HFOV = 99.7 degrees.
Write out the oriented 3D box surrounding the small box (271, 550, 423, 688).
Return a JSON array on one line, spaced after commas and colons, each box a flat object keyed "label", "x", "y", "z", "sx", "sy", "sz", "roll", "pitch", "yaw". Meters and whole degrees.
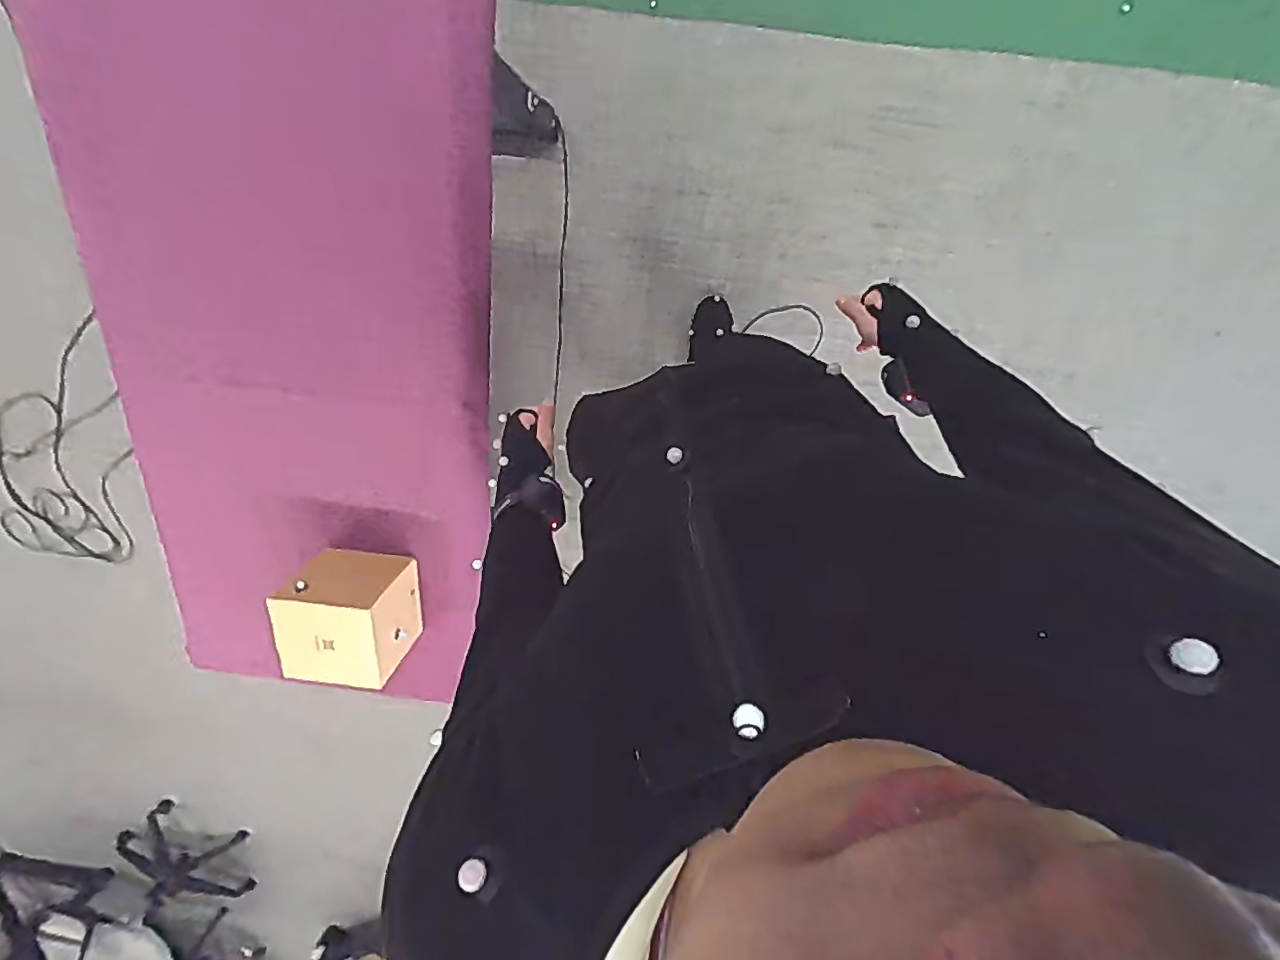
[{"label": "small box", "x": -0.505, "y": 0.240, "z": 0.965, "sx": 0.179, "sy": 0.176, "sz": 0.168, "roll": 6, "pitch": 113, "yaw": 4}]
